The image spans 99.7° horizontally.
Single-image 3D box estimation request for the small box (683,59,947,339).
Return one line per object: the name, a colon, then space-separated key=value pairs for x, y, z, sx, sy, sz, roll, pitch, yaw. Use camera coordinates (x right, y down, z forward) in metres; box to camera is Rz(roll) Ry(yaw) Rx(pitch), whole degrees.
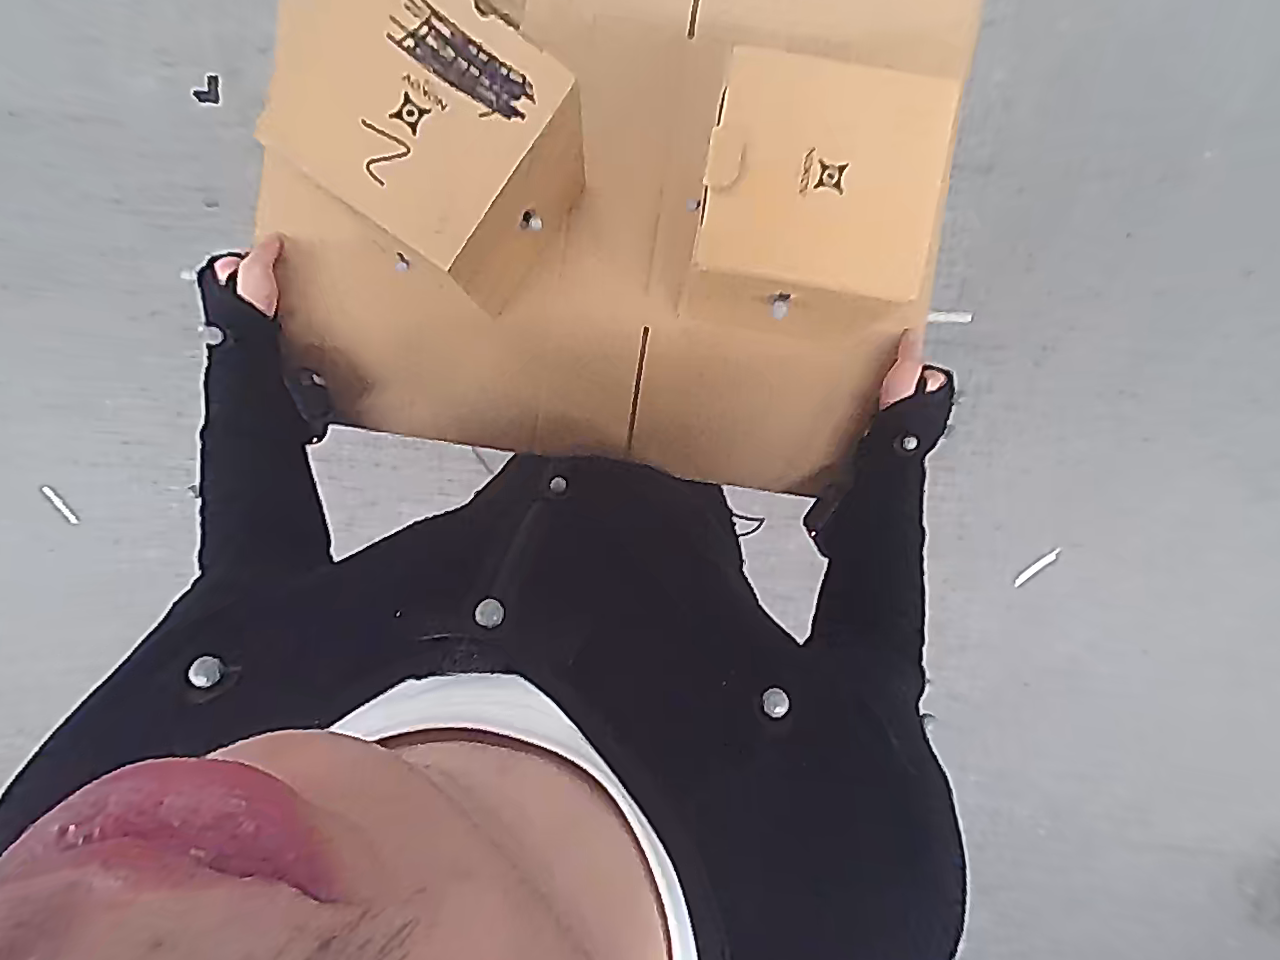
small box: x=0.143 y=-0.238 z=0.505 sx=0.179 sy=0.176 sz=0.168 roll=9 pitch=92 yaw=1
